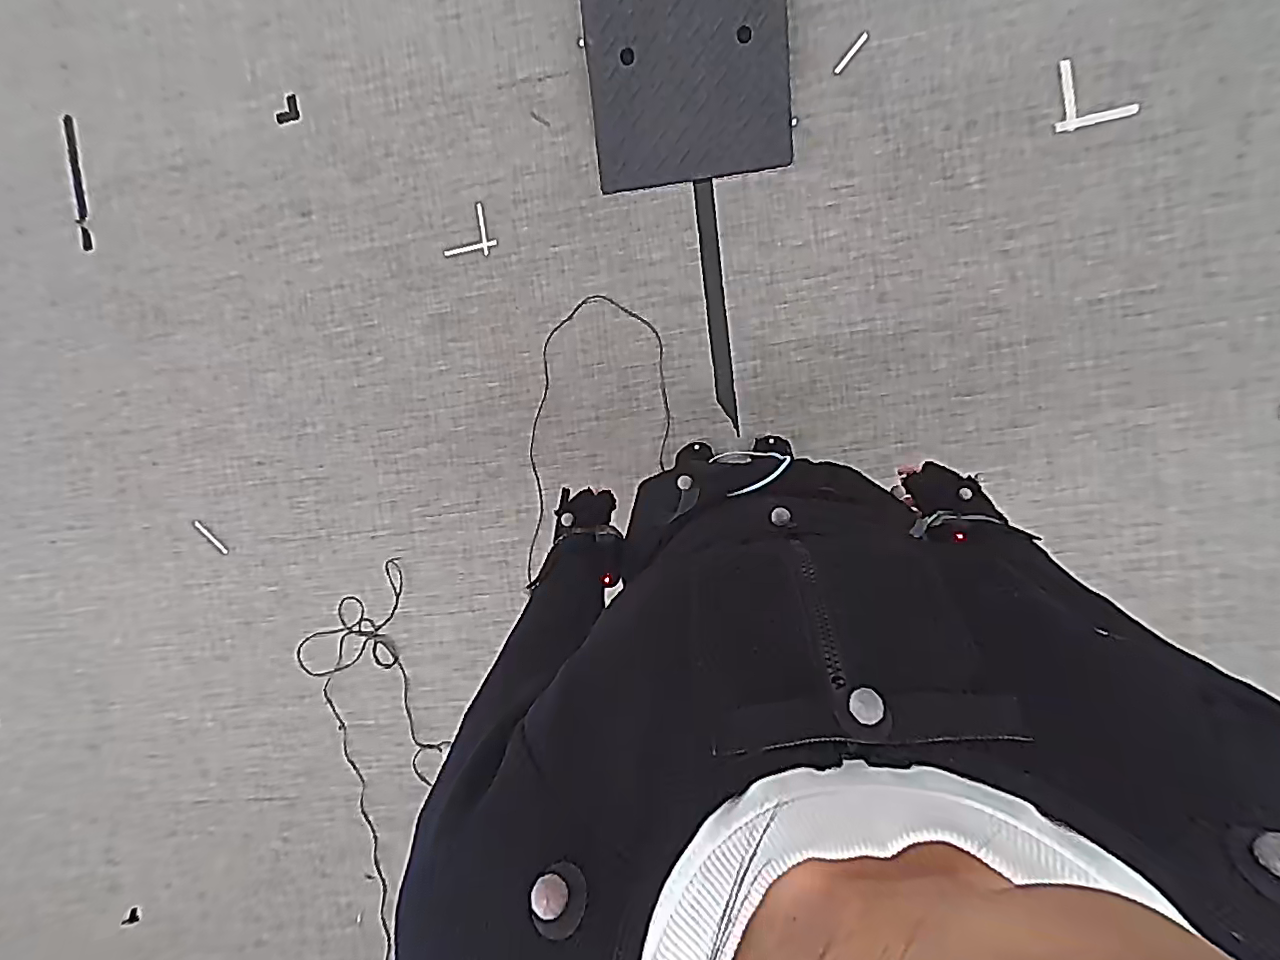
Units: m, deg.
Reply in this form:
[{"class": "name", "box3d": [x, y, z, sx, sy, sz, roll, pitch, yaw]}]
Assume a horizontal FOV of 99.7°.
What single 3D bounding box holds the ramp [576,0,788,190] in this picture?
[{"class": "ramp", "box3d": [0.078, -1.259, 1.265, 0.509, 0.206, 0.991, -6, 94, 7]}]
